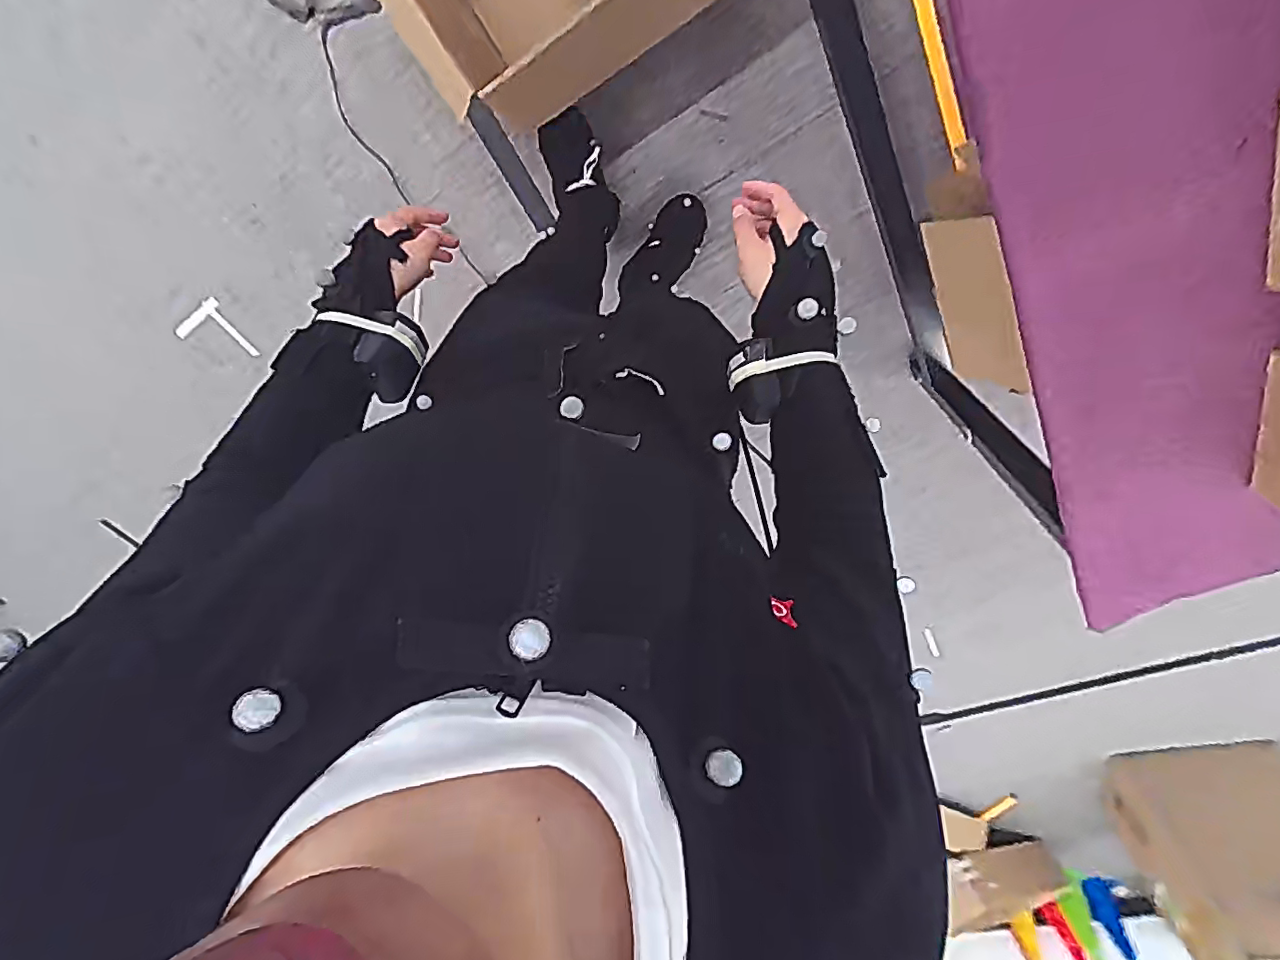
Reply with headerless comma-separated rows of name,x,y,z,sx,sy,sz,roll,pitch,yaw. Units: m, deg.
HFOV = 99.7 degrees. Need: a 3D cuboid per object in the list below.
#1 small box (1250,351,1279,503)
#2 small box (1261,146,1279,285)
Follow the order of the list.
small box,0.701,-0.037,0.467,0.168,0.176,0.179,-19,120,16
small box,0.591,-0.218,0.352,0.179,0.176,0.168,-21,119,18
